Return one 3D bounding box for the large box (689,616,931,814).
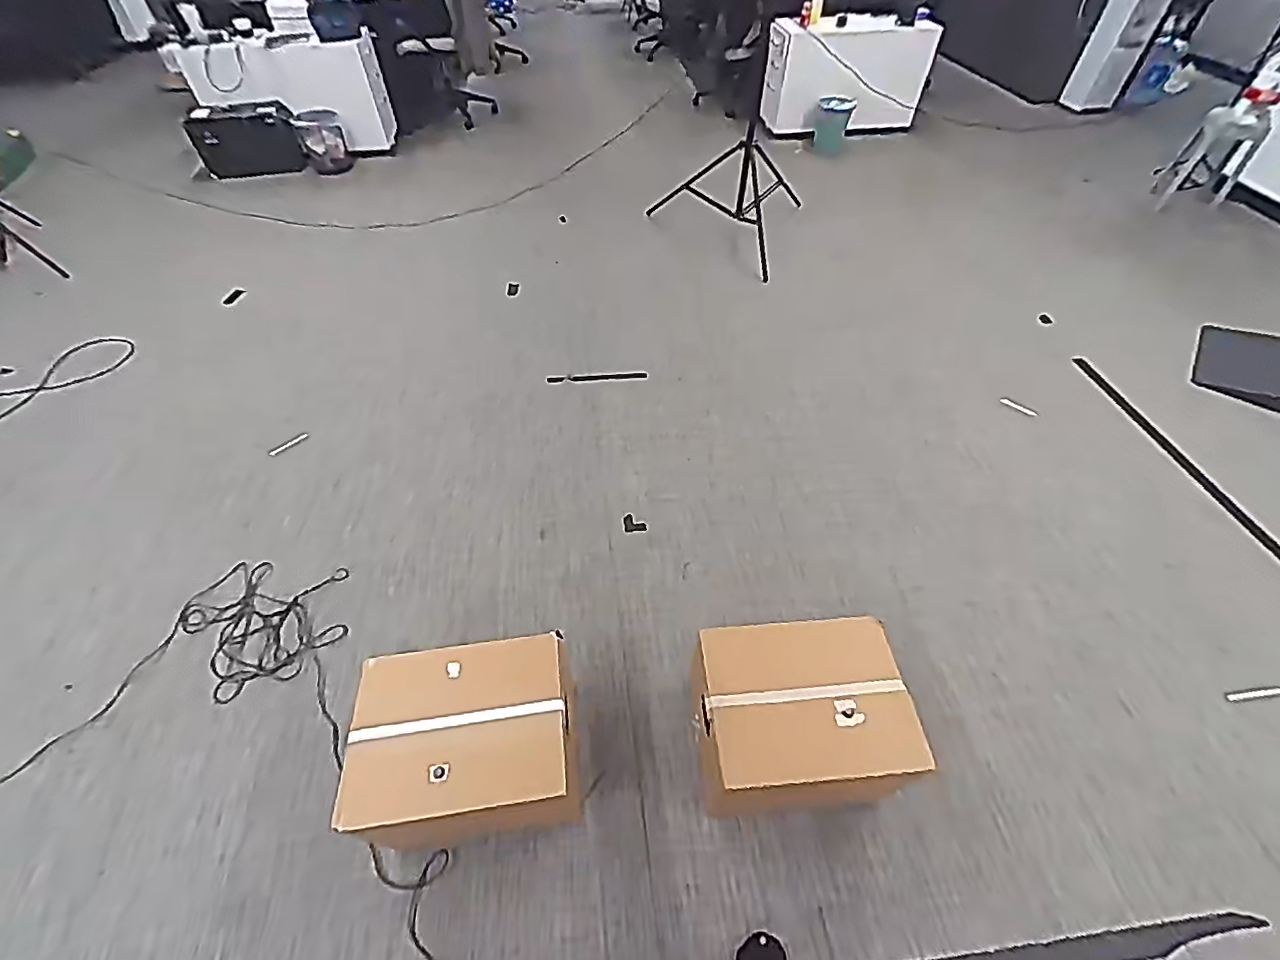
[{"bbox_3d":[0.339,0.530,1.216,0.408,0.320,0.320,-3,51,-4],"label":"large box"}]
